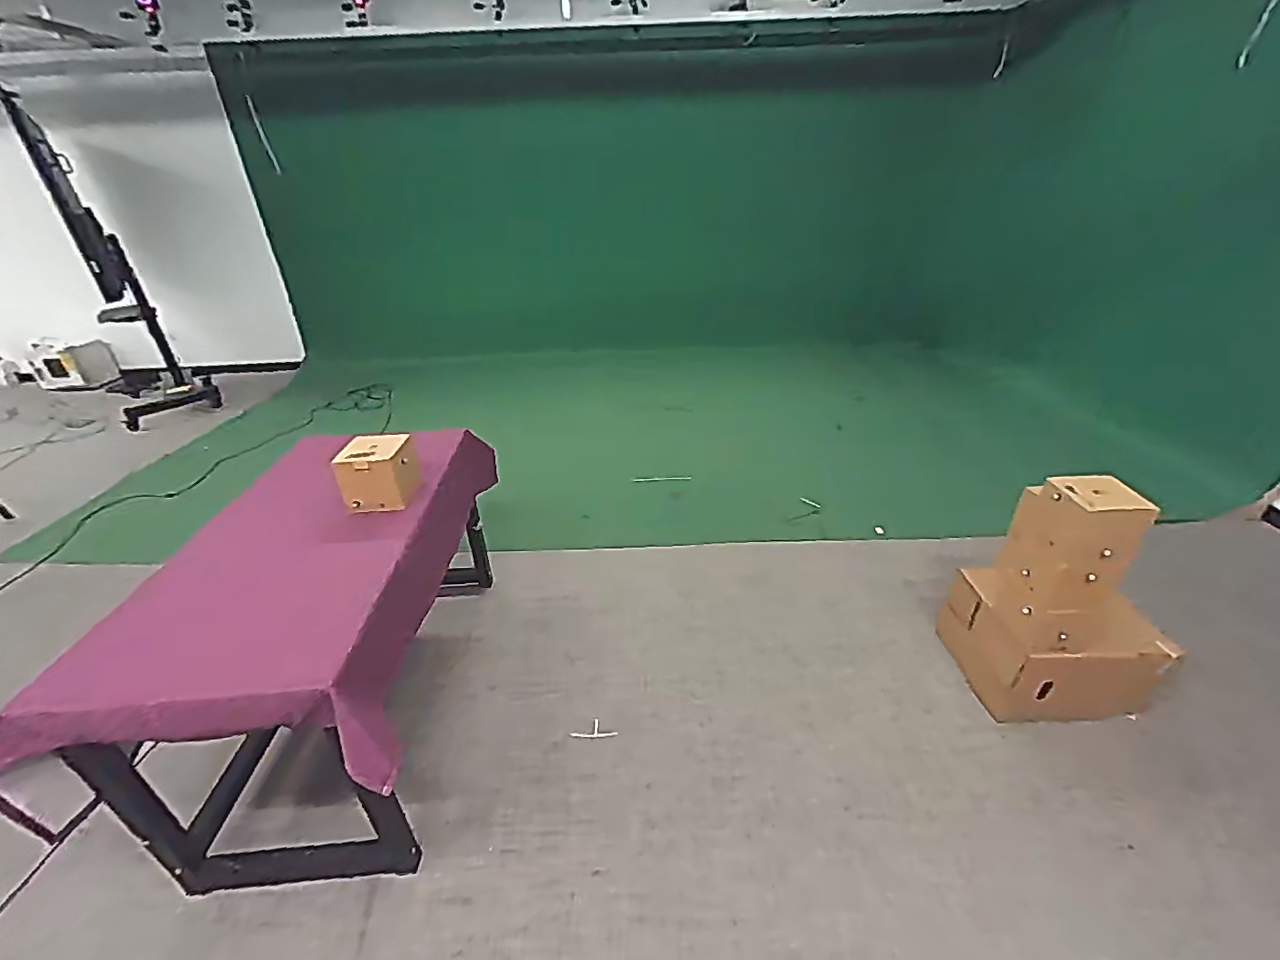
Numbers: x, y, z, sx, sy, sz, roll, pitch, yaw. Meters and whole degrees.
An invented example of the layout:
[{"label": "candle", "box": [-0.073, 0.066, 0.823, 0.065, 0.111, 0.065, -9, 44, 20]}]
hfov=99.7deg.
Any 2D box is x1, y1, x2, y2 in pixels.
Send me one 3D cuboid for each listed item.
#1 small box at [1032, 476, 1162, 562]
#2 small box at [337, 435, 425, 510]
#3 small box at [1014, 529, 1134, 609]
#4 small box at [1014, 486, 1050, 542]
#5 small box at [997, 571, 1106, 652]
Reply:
[{"label": "small box", "box": [1.189, 0.103, 1.424, 0.179, 0.176, 0.168, -1, 30, 1]}, {"label": "small box", "box": [-0.760, -0.018, 1.613, 0.168, 0.176, 0.179, -3, 29, 0]}, {"label": "small box", "box": [1.196, 0.245, 1.506, 0.179, 0.176, 0.168, -1, 30, 2]}, {"label": "small box", "box": [1.333, 0.132, 1.705, 0.168, 0.176, 0.179, -1, 28, -2]}, {"label": "small box", "box": [1.196, 0.387, 1.587, 0.168, 0.176, 0.179, 0, 30, 1]}]
